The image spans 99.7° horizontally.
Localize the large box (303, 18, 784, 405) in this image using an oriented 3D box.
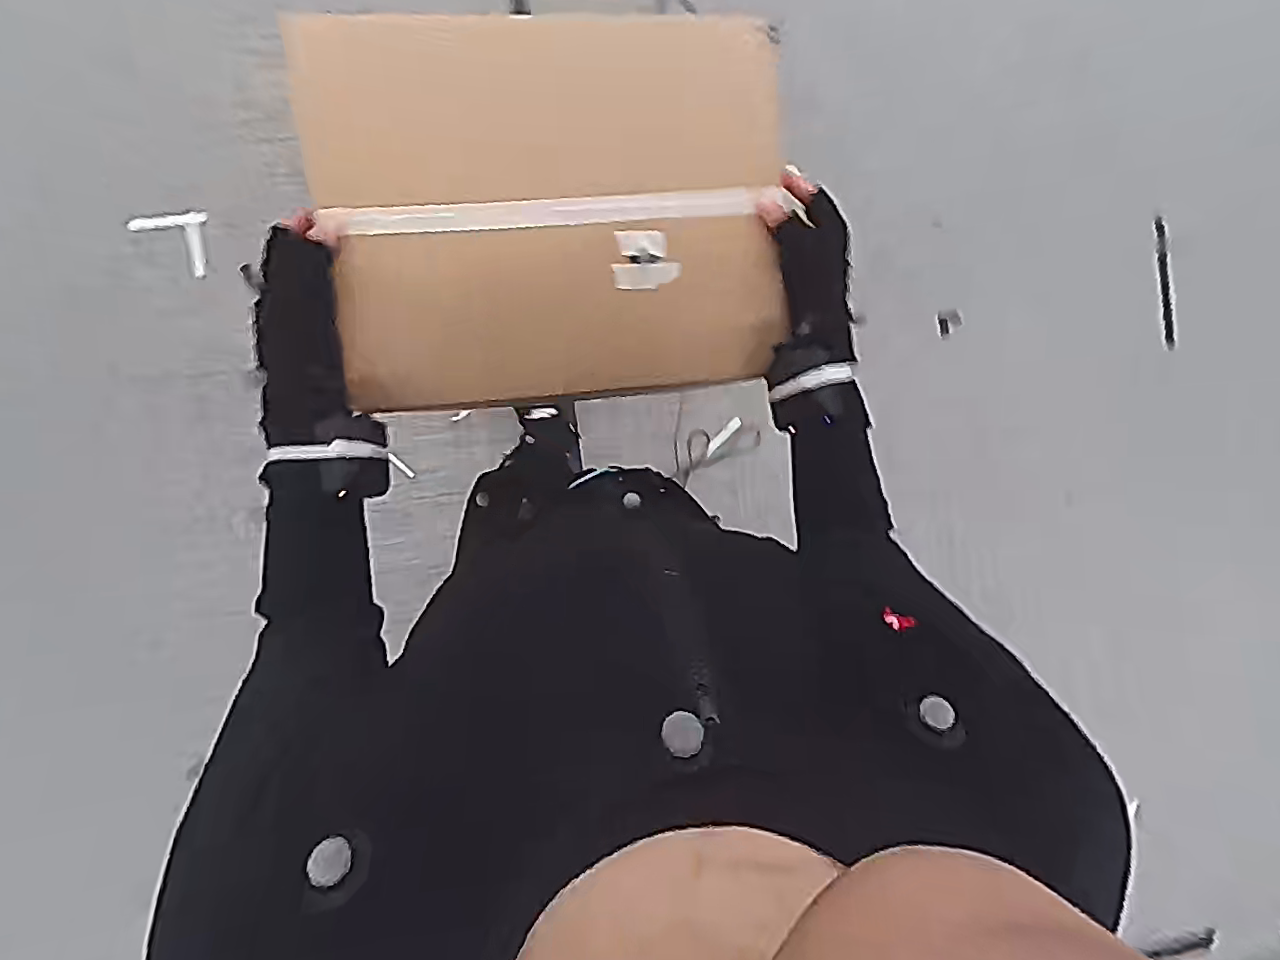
[{"bbox_3d":[-0.092,-0.263,0.632,0.408,0.320,0.320,-6,99,-9],"label":"large box"}]
